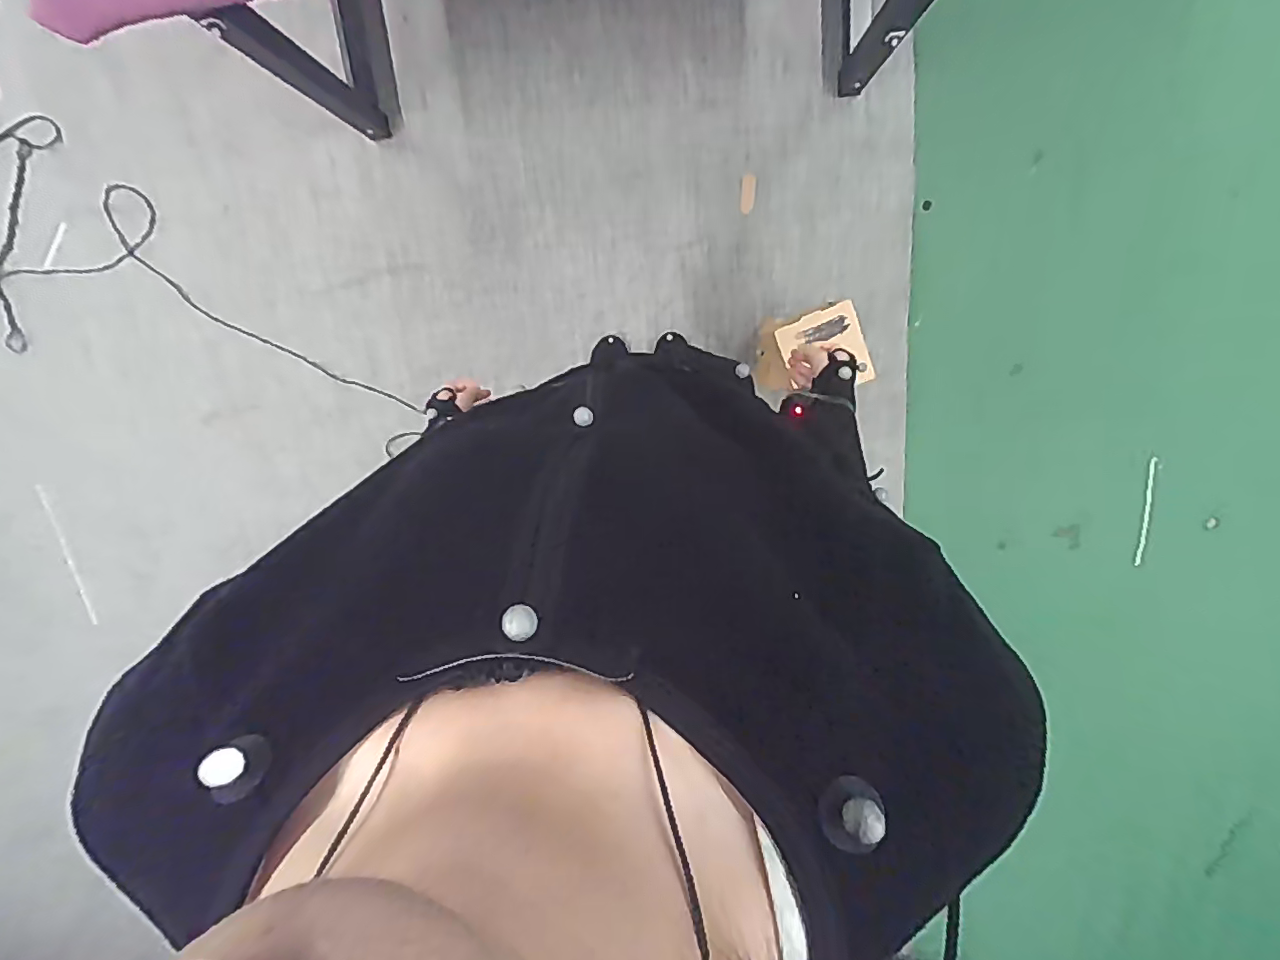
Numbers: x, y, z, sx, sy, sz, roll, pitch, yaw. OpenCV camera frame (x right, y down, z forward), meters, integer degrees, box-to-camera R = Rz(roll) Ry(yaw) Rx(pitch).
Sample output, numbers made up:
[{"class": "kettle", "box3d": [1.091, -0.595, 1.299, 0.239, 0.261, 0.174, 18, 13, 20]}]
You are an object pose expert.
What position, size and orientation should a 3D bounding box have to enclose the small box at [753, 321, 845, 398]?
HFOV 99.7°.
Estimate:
[{"class": "small box", "box3d": [0.386, -0.302, 1.352, 0.179, 0.176, 0.168, 6, 105, 1]}]
